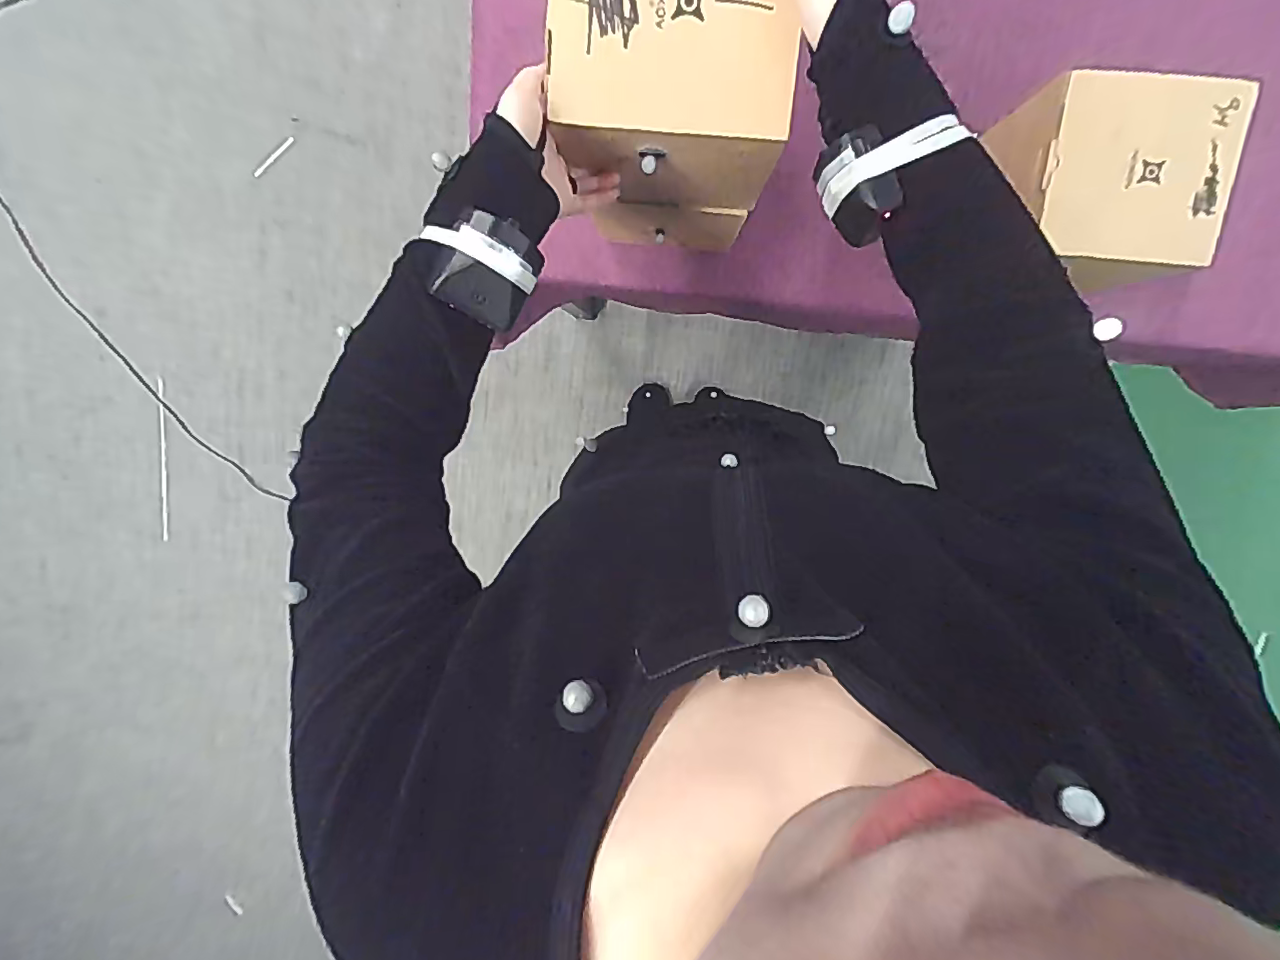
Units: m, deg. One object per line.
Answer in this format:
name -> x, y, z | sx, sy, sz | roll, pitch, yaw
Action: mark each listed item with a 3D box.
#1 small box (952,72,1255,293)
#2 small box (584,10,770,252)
small box -> 0.480, -0.308, 0.596 | 0.179, 0.176, 0.168 | 6, 101, 3
small box -> 0.038, -0.370, 0.608 | 0.168, 0.176, 0.179 | 7, 101, 1
